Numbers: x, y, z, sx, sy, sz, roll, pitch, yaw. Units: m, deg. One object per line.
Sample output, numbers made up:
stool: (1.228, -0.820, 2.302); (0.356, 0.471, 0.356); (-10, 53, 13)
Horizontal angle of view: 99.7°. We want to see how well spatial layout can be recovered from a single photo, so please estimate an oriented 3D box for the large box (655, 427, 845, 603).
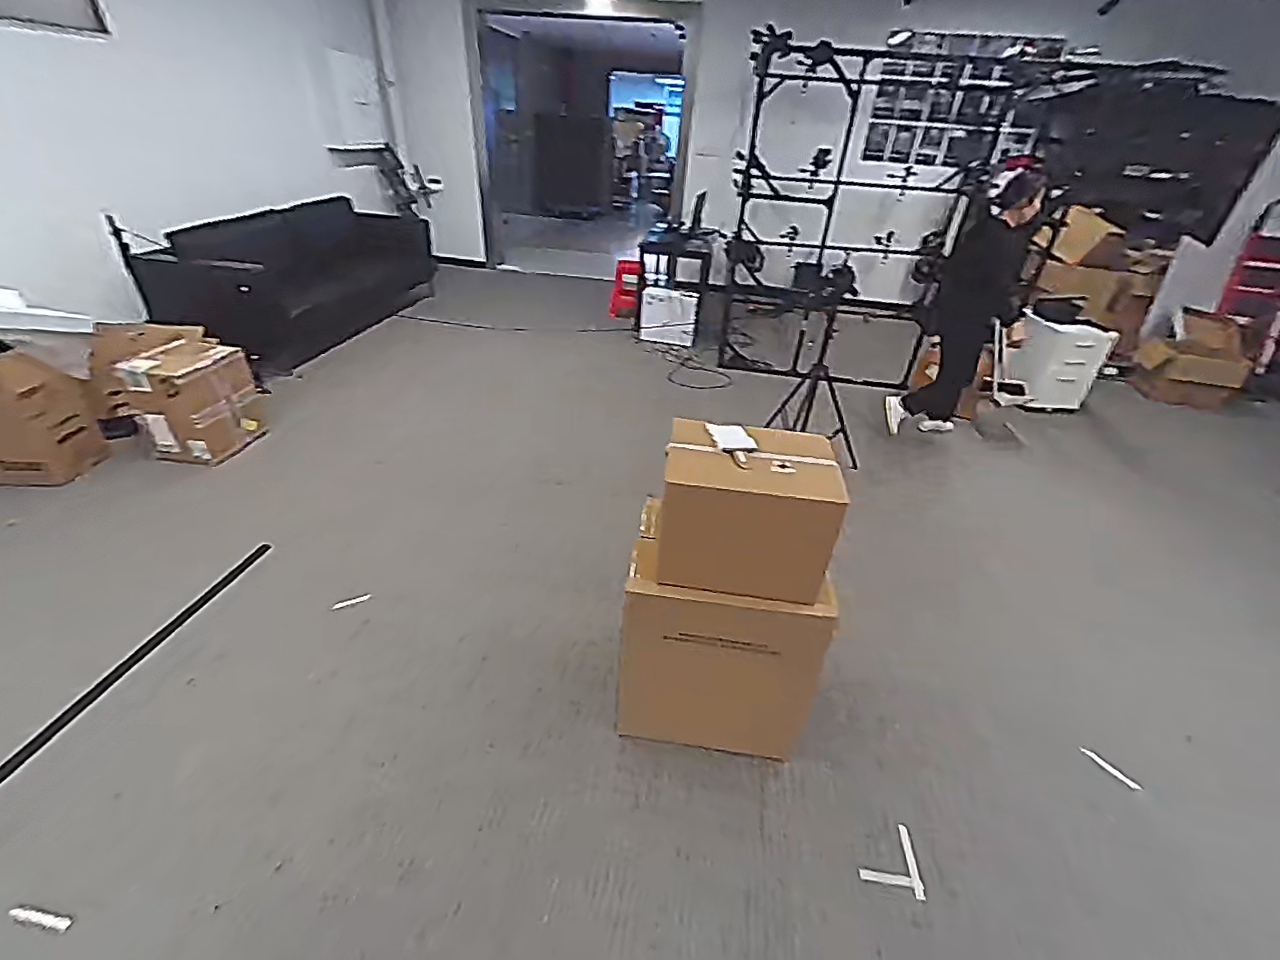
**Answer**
large box: (0.258, 0.084, 1.397); (0.408, 0.320, 0.320); (7, 34, 3)
